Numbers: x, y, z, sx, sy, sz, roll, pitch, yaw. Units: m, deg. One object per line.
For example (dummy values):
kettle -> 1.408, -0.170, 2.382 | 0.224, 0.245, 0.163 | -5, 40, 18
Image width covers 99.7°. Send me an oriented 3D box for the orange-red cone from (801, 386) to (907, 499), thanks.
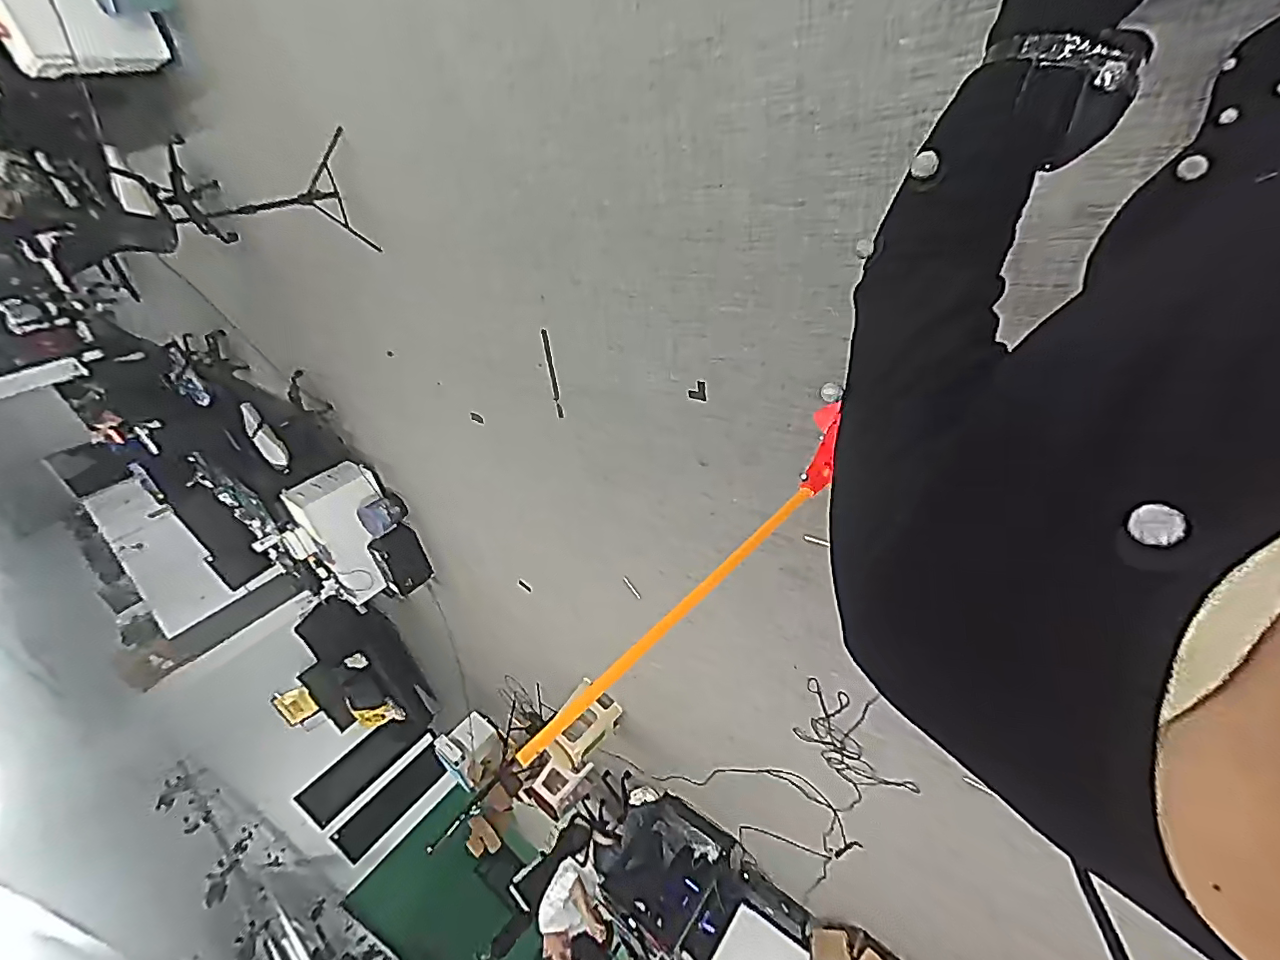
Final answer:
orange-red cone -> 0.500, -0.060, 1.382 | 0.198, 0.360, 0.199 | 50, 141, 0
